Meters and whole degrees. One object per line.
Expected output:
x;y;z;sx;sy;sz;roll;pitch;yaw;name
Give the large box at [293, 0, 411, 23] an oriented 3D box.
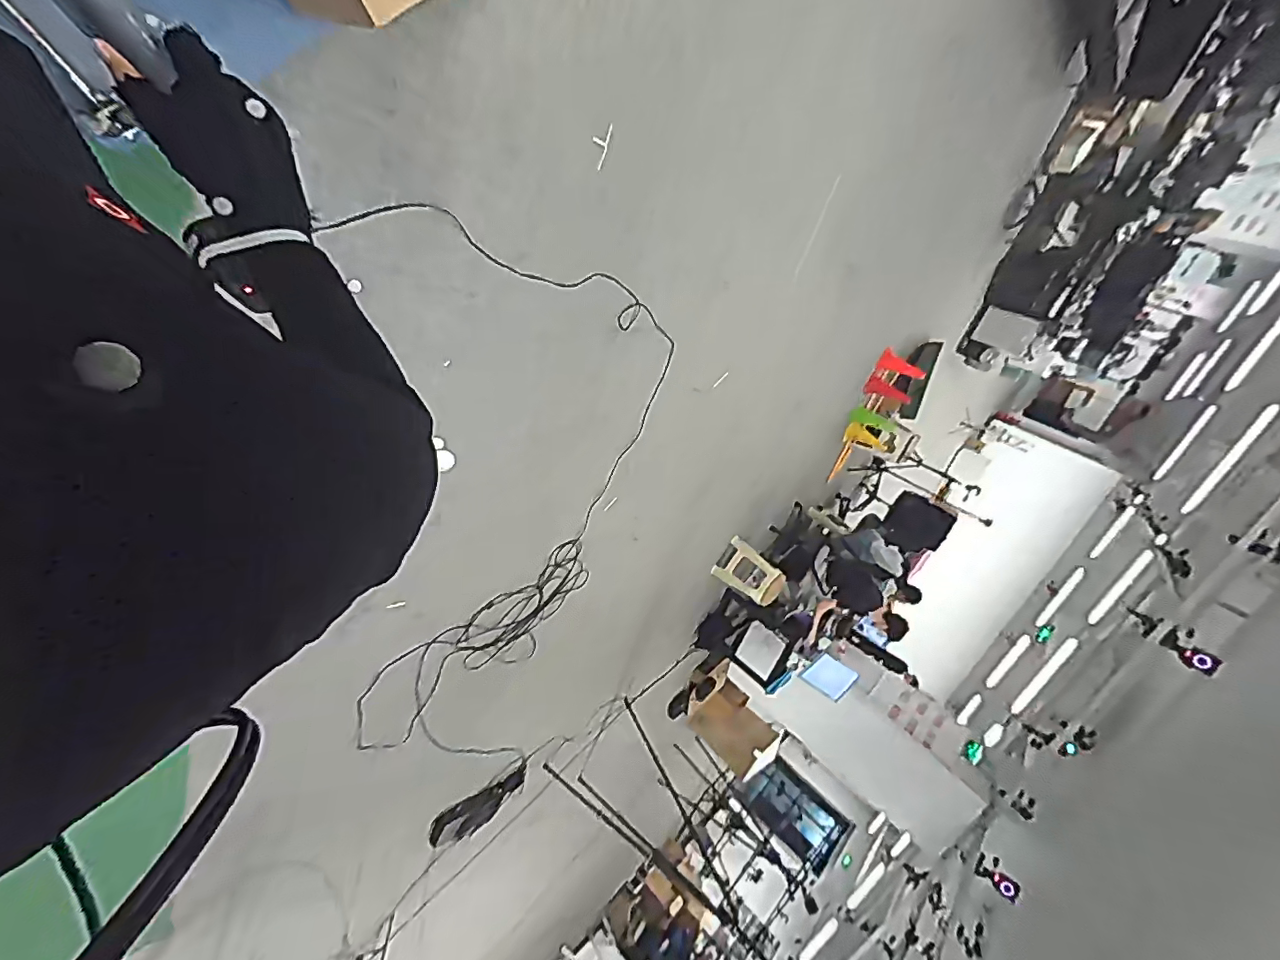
-0.427;-0.918;0.709;0.320;0.320;0.408;-46;146;-13;large box
